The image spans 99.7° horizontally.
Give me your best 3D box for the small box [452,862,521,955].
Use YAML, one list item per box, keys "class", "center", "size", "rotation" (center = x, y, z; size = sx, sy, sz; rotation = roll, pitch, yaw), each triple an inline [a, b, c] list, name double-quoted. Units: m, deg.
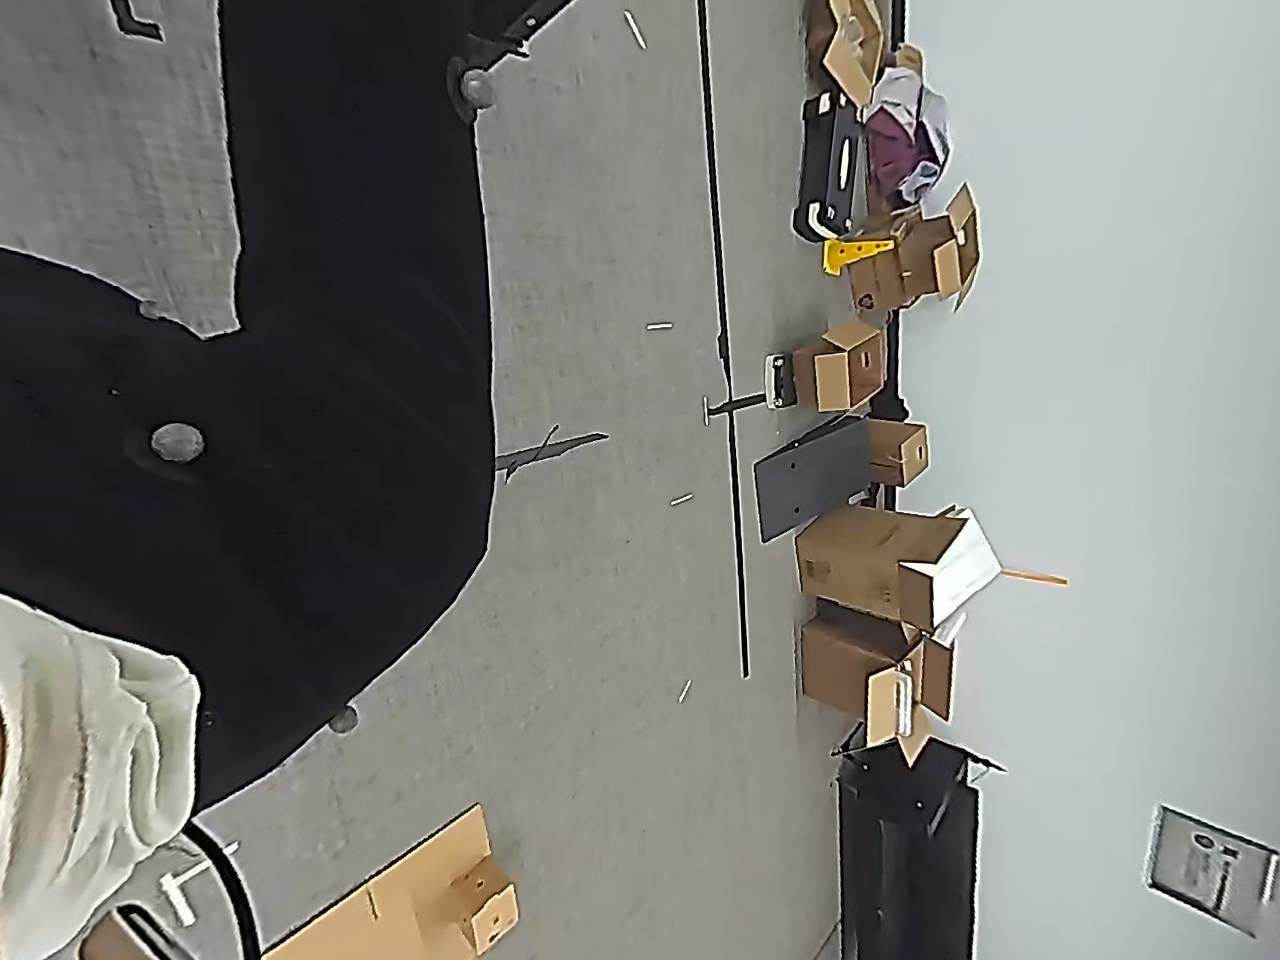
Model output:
- class: "small box"
  center: [-0.552, 1.516, 1.933]
  size: [0.168, 0.176, 0.179]
  rotation: [-17, 108, -42]
